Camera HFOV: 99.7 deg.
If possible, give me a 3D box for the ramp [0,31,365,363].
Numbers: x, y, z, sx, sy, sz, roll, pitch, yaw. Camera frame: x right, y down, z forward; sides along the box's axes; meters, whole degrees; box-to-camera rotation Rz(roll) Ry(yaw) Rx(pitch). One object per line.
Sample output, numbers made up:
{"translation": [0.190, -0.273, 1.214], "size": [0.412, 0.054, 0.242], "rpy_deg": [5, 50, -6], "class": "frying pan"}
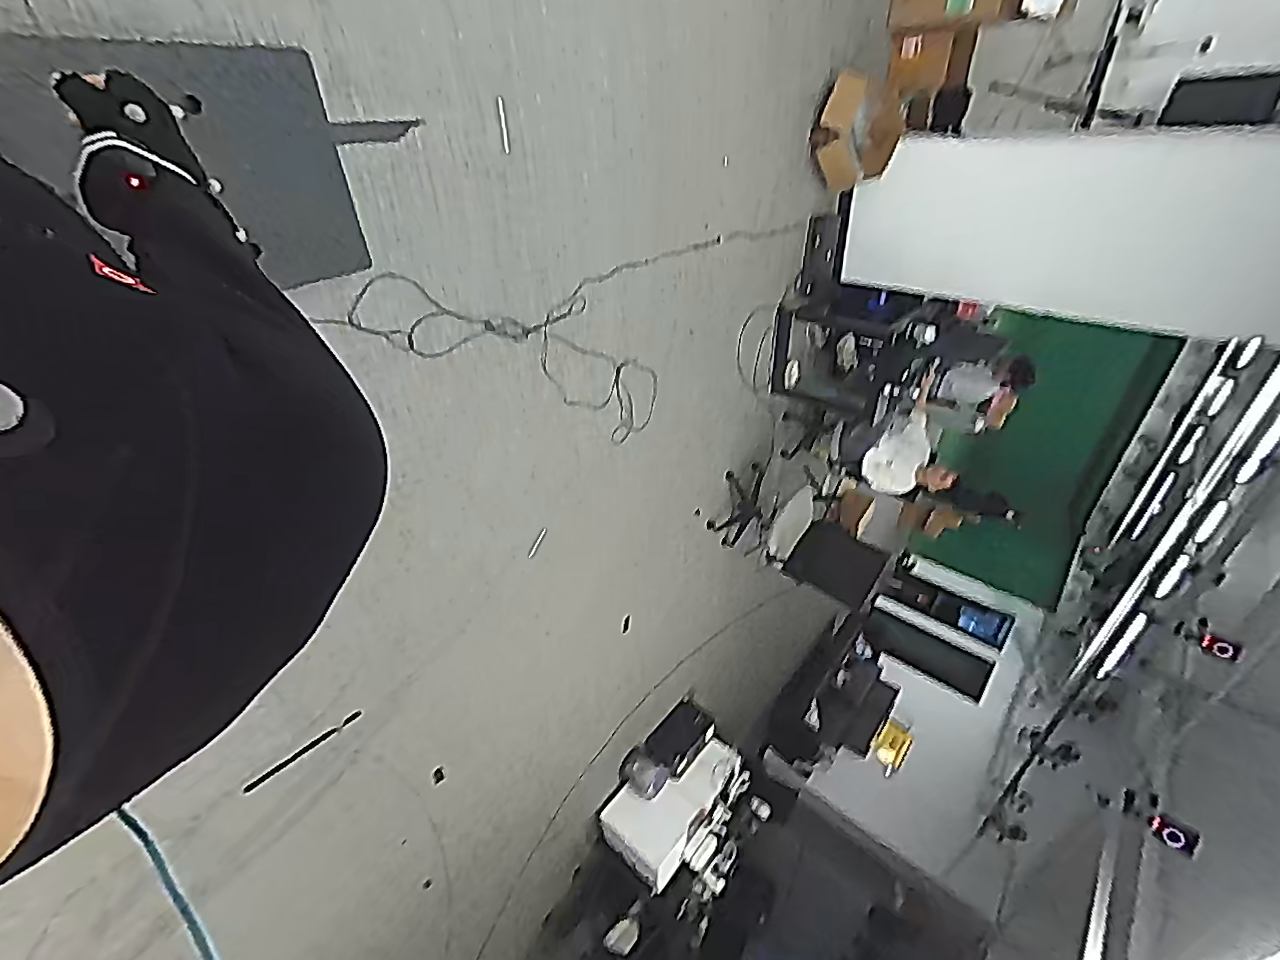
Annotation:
{"translation": [-1.049, -0.557, 1.046], "size": [0.991, 0.206, 0.509], "rpy_deg": [-36, 135, -36], "class": "ramp"}
